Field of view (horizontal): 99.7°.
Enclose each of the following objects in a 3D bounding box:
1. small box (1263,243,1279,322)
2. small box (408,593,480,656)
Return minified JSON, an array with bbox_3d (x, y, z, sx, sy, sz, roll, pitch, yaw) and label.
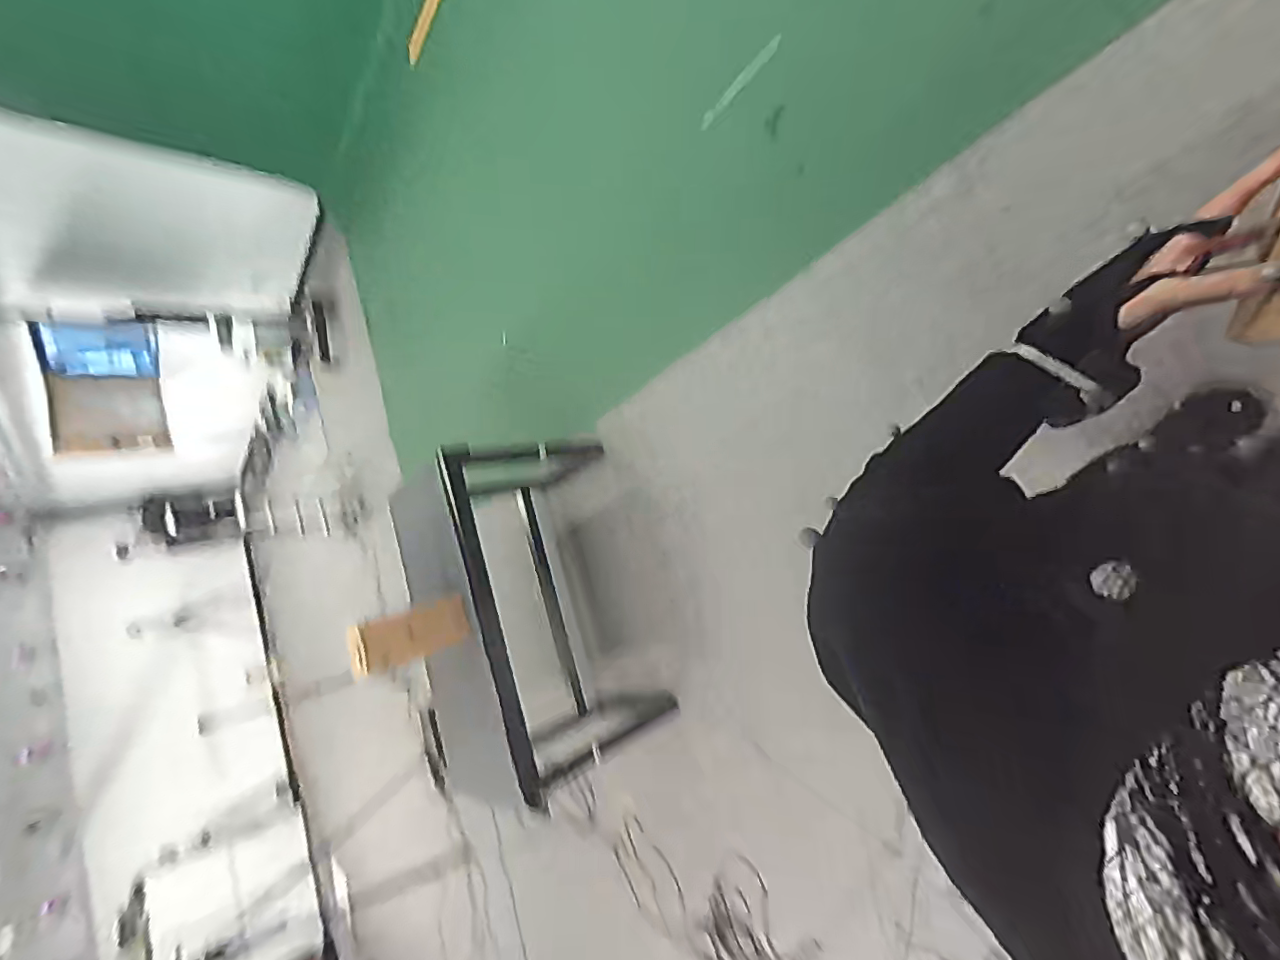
[{"bbox_3d":[0.473,-0.166,0.273,0.168,0.176,0.179,14,113,38],"label":"small box"},{"bbox_3d":[-0.675,0.497,1.864,0.179,0.176,0.168,-24,79,47],"label":"small box"}]
